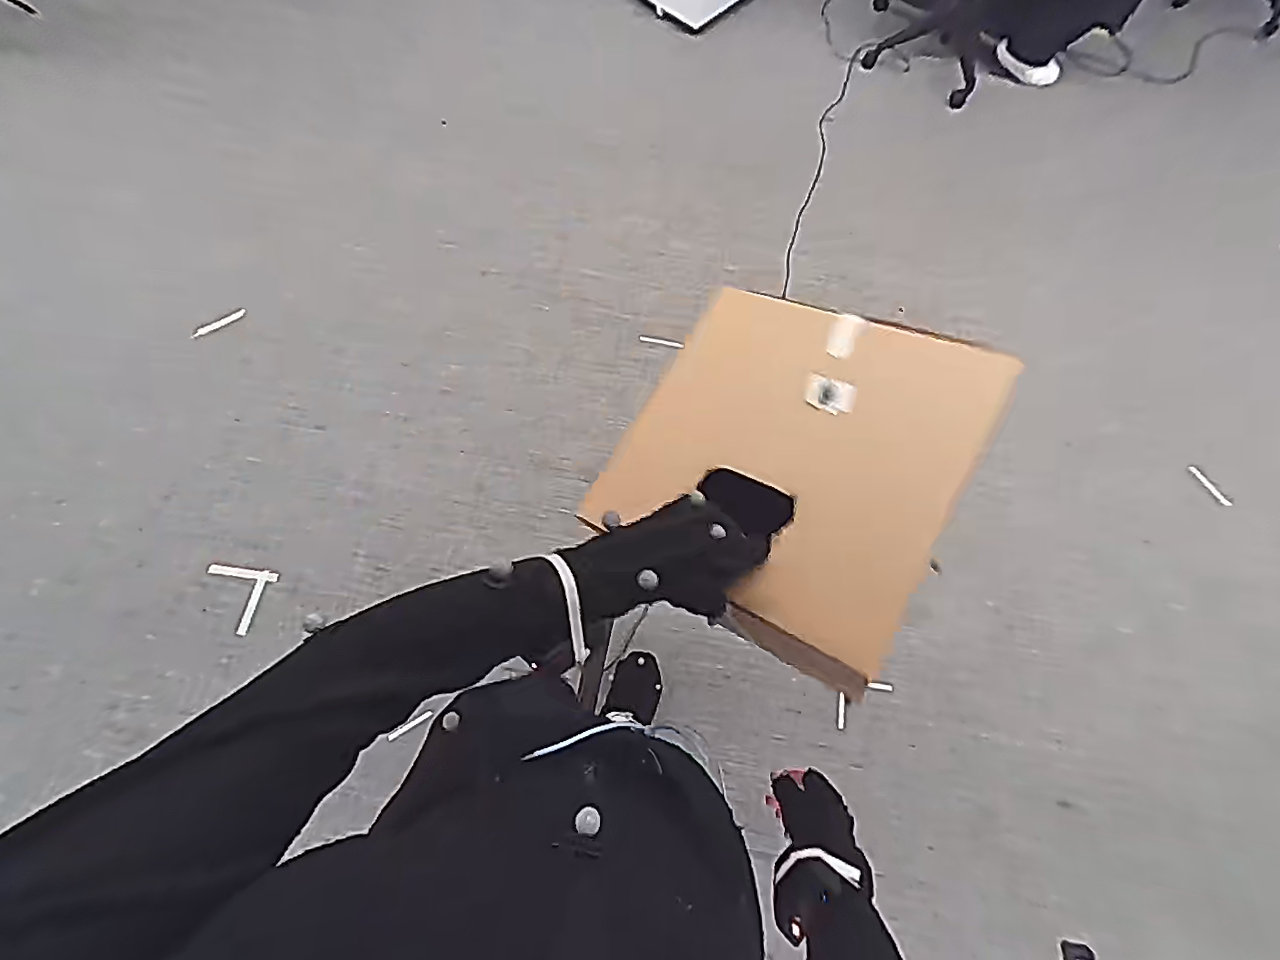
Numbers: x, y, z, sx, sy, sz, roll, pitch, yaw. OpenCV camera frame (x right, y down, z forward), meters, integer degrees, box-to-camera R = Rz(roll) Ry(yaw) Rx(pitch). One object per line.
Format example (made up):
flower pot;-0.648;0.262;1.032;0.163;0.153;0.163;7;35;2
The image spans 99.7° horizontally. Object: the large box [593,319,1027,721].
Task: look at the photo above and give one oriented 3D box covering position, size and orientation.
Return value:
large box;0.214;0.070;0.681;0.320;0.408;0.320;29;80;30
